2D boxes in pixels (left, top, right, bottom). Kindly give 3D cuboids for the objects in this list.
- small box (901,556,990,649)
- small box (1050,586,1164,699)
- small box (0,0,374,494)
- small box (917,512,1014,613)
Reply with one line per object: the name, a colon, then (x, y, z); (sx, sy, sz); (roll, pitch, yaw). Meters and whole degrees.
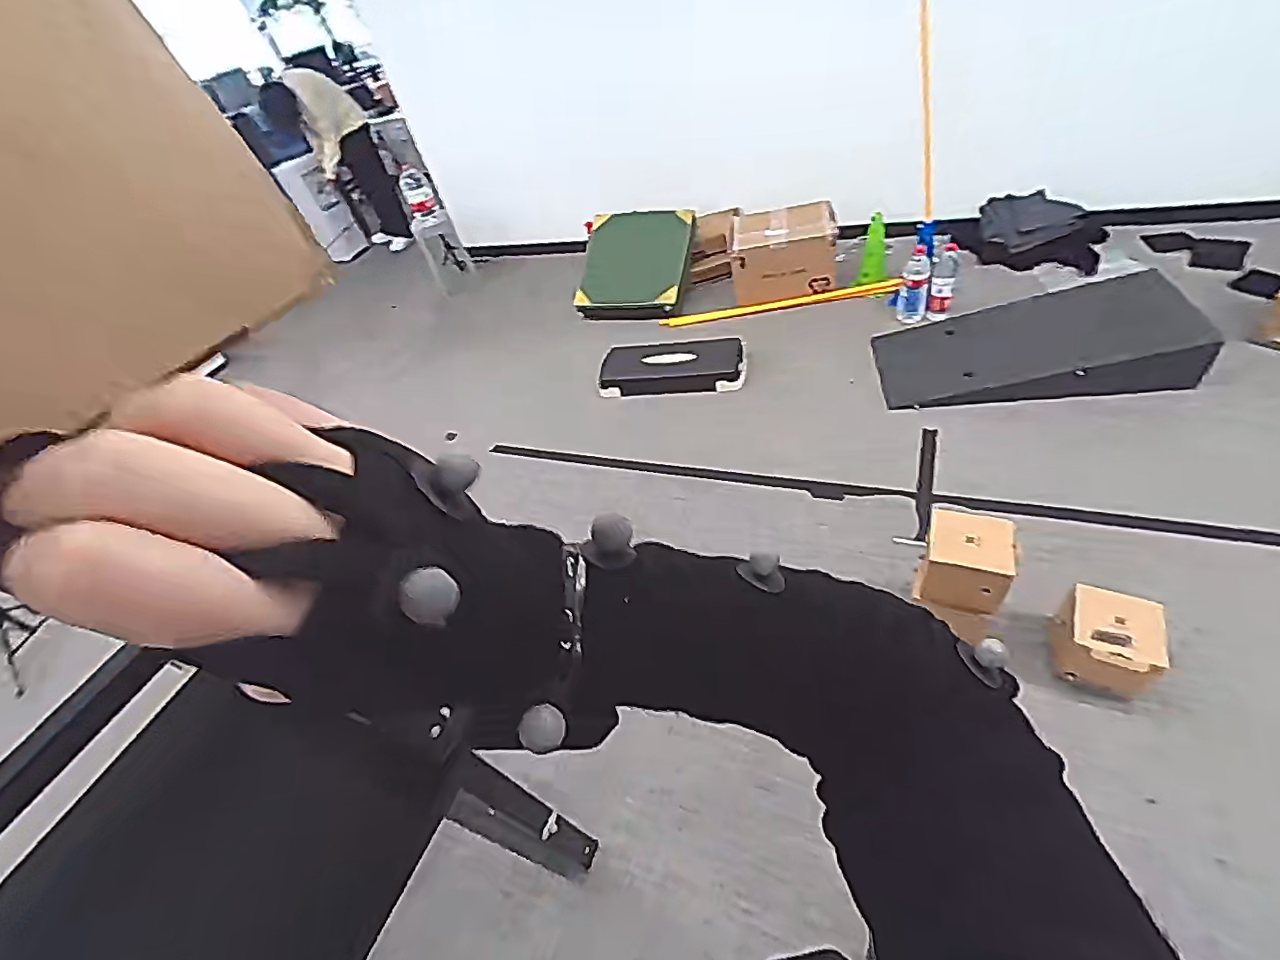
small box: (0.817, 0.325, 1.442); (0.179, 0.176, 0.168); (14, 52, 26)
small box: (1.107, 0.391, 1.294); (0.168, 0.176, 0.179); (14, 51, 27)
small box: (-0.211, -0.073, 0.112); (0.176, 0.179, 0.168); (2, 44, 37)
small box: (0.797, 0.206, 1.331); (0.179, 0.176, 0.168); (9, 49, 25)
